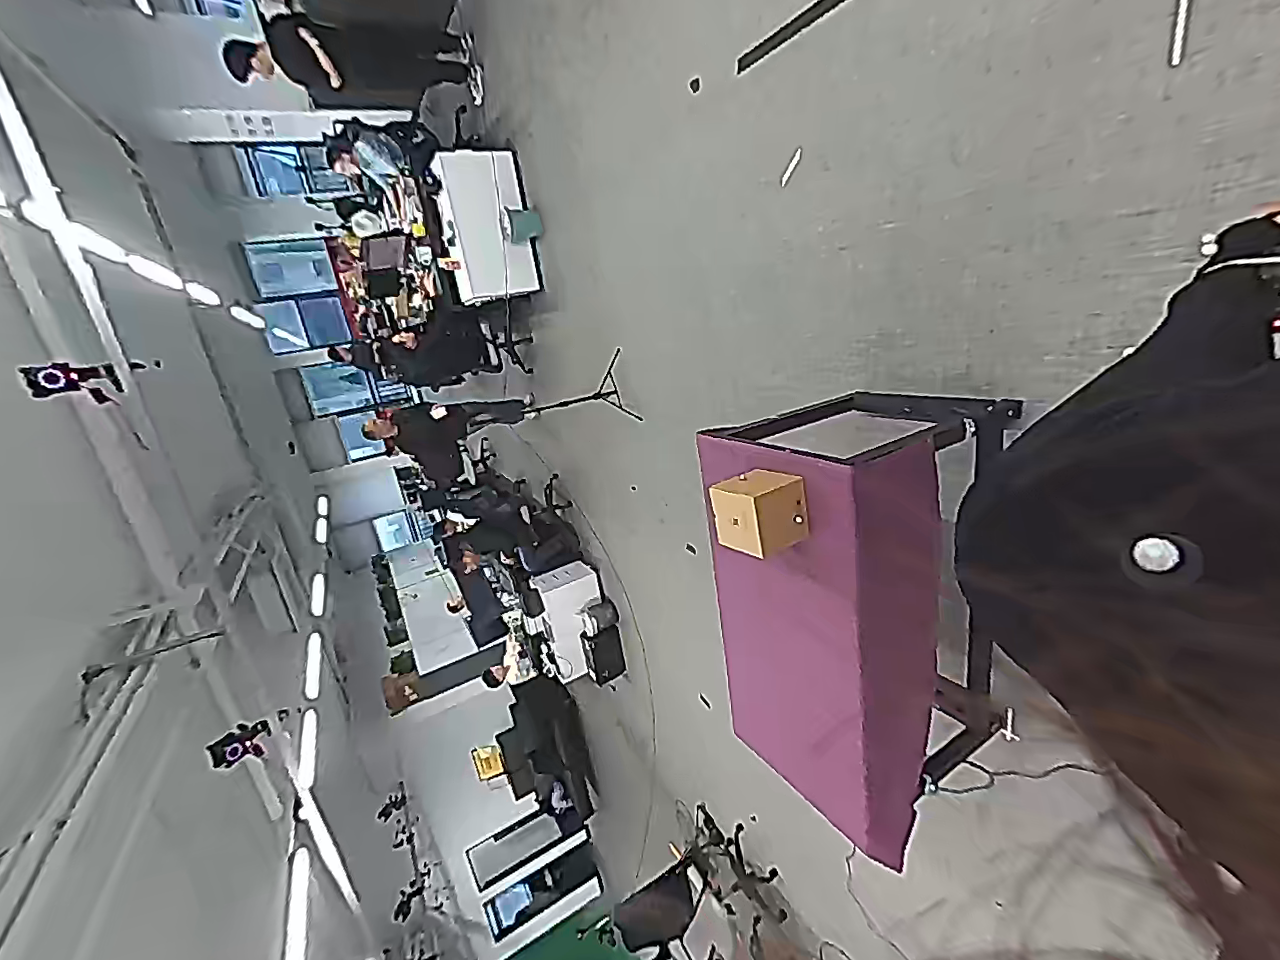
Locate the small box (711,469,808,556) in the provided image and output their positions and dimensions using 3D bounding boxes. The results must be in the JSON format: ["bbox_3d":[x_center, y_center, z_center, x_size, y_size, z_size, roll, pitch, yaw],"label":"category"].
[{"bbox_3d":[0.312,0.076,1.413,0.179,0.176,0.168,16,122,60],"label":"small box"}]
